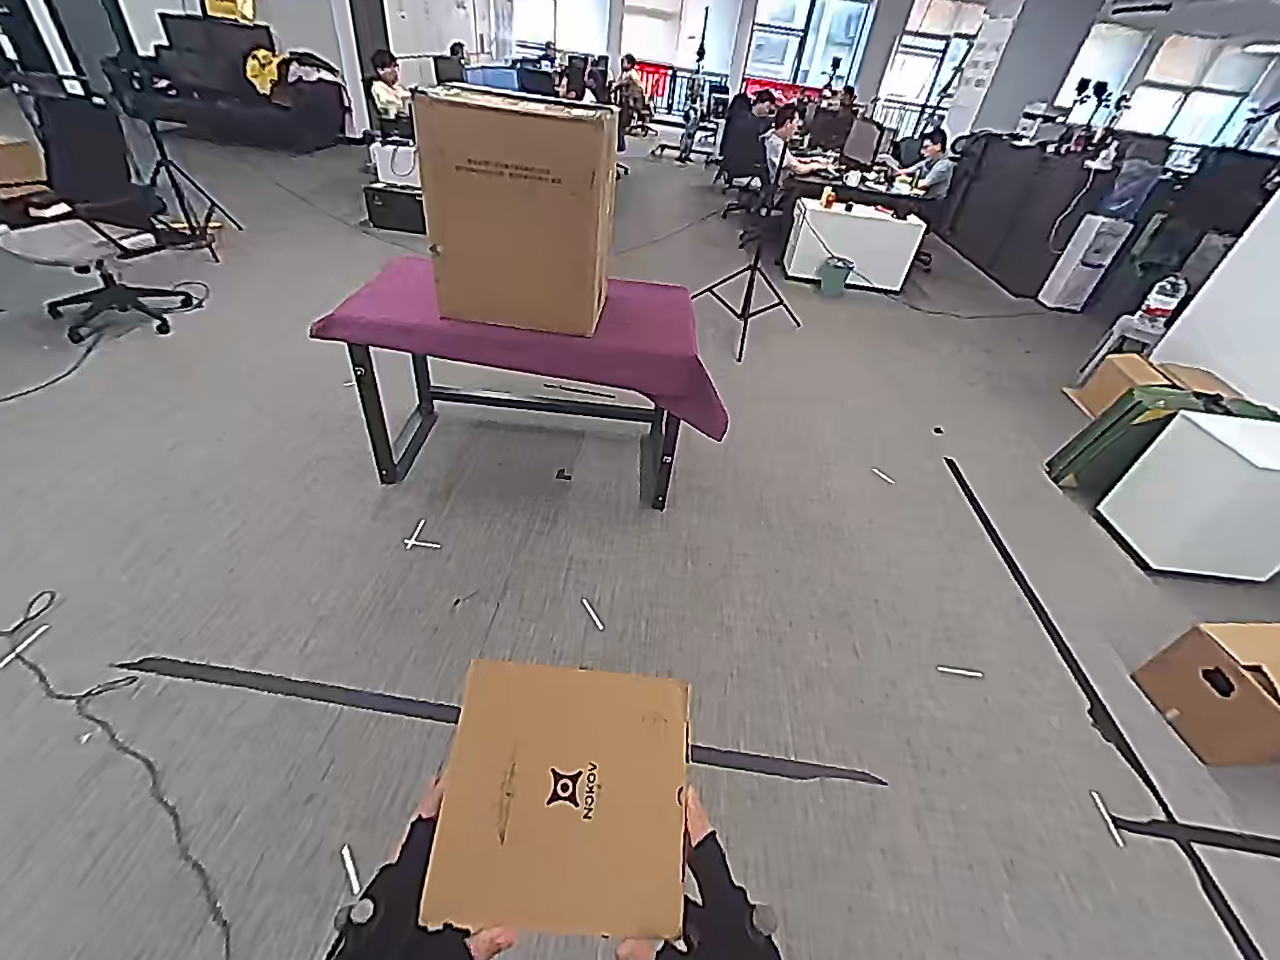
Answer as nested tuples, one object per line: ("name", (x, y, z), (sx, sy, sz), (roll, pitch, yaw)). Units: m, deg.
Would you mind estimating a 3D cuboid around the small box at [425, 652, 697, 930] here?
("small box", (-0.057, 0.252, 0.454), (0.179, 0.176, 0.168), (7, 59, -6))
